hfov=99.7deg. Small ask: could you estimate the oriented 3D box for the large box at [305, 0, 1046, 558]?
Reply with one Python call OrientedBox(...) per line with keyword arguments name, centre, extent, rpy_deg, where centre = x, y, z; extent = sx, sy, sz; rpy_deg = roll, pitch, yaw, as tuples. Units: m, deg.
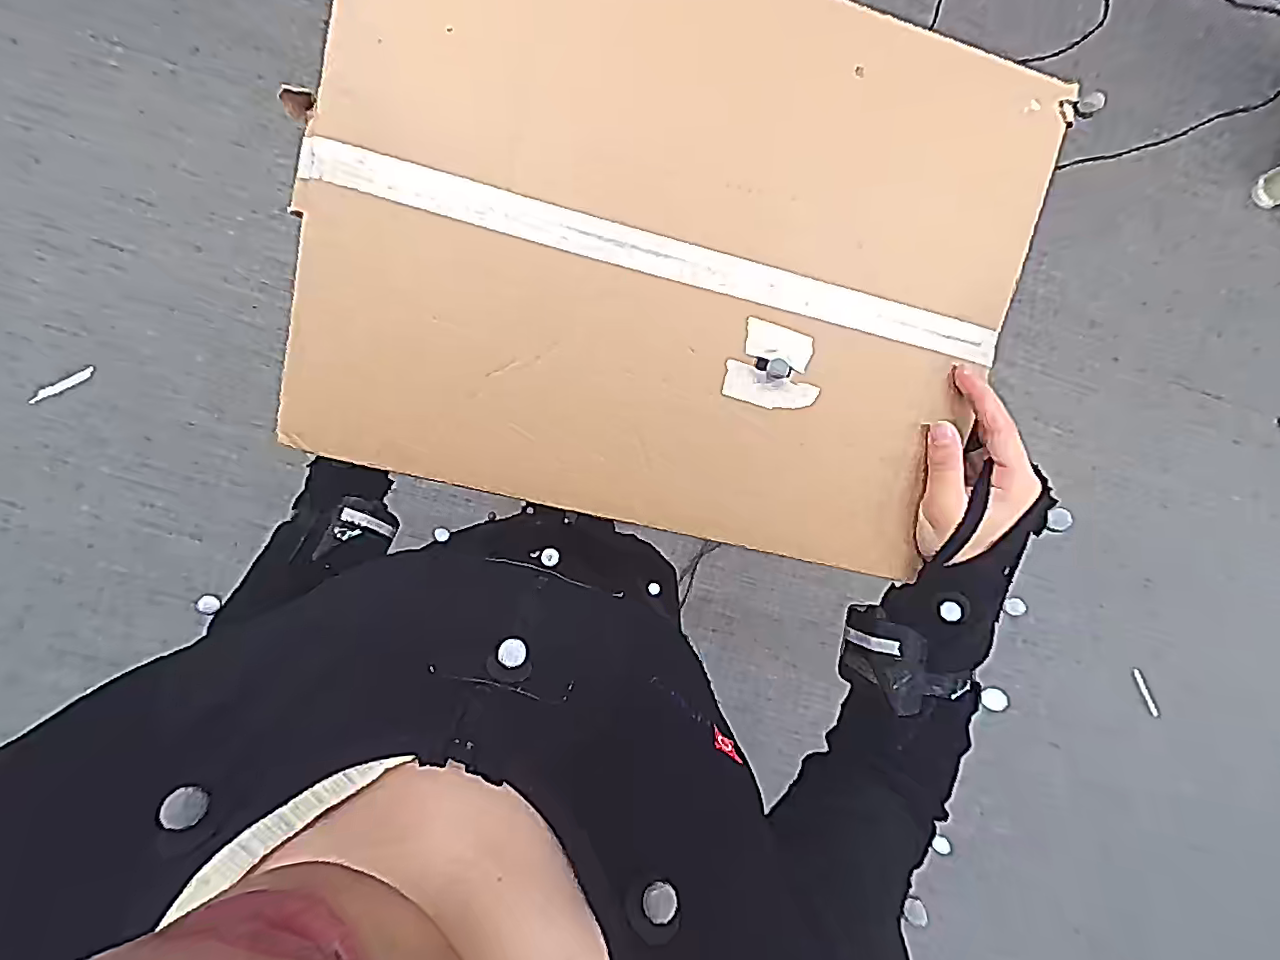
OrientedBox(name="large box", centre=(0.008, -0.155, 0.468), extent=(0.408, 0.320, 0.320), rpy_deg=(12, 99, -9))
